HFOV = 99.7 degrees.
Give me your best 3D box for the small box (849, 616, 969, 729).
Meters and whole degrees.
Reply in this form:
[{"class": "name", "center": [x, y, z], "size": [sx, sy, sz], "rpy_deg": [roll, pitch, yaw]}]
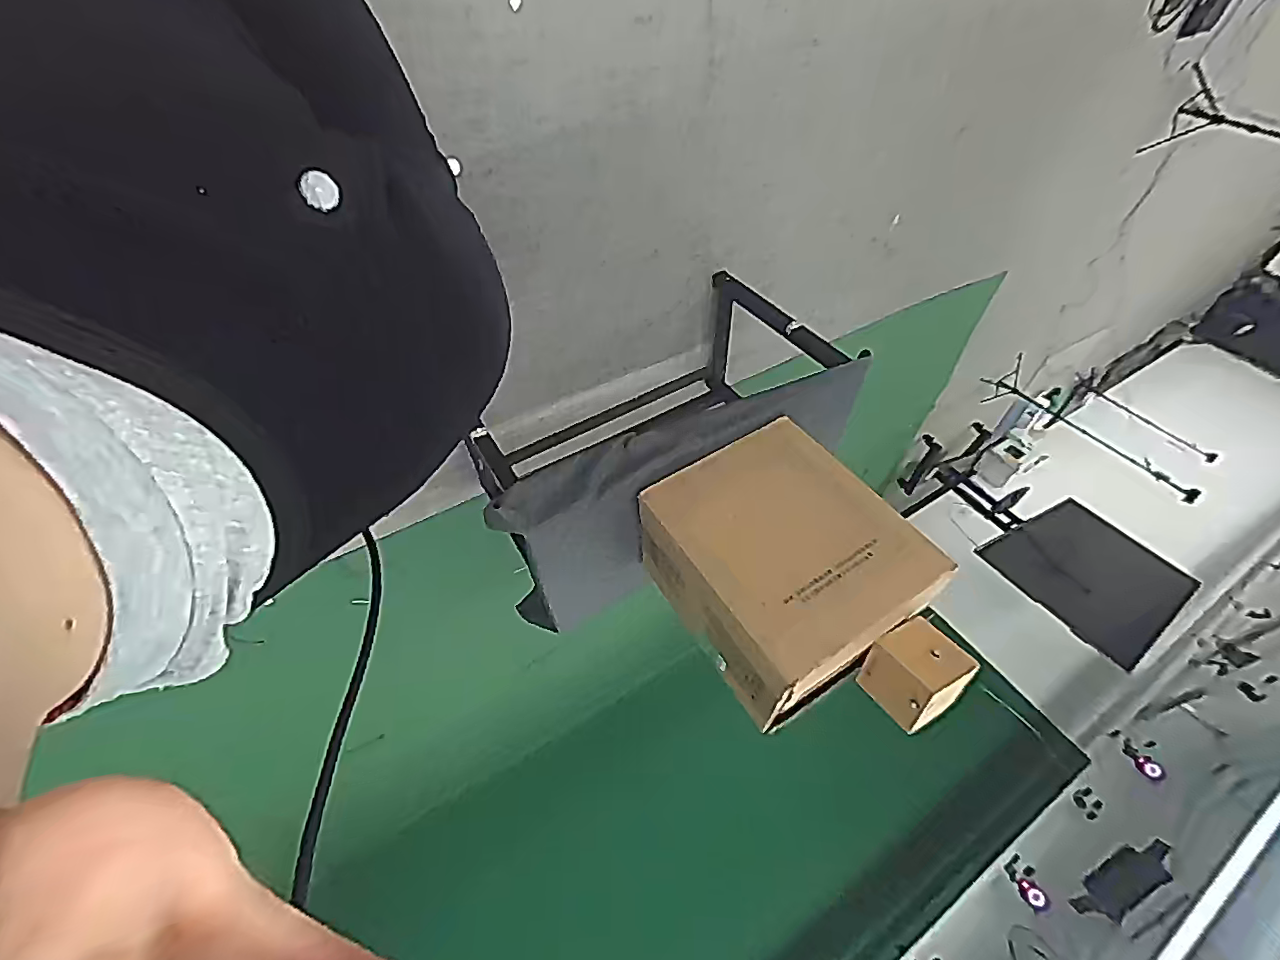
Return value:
[{"class": "small box", "center": [0.658, 0.467, 1.337], "size": [0.179, 0.176, 0.168], "rpy_deg": [-16, 130, -27]}]
